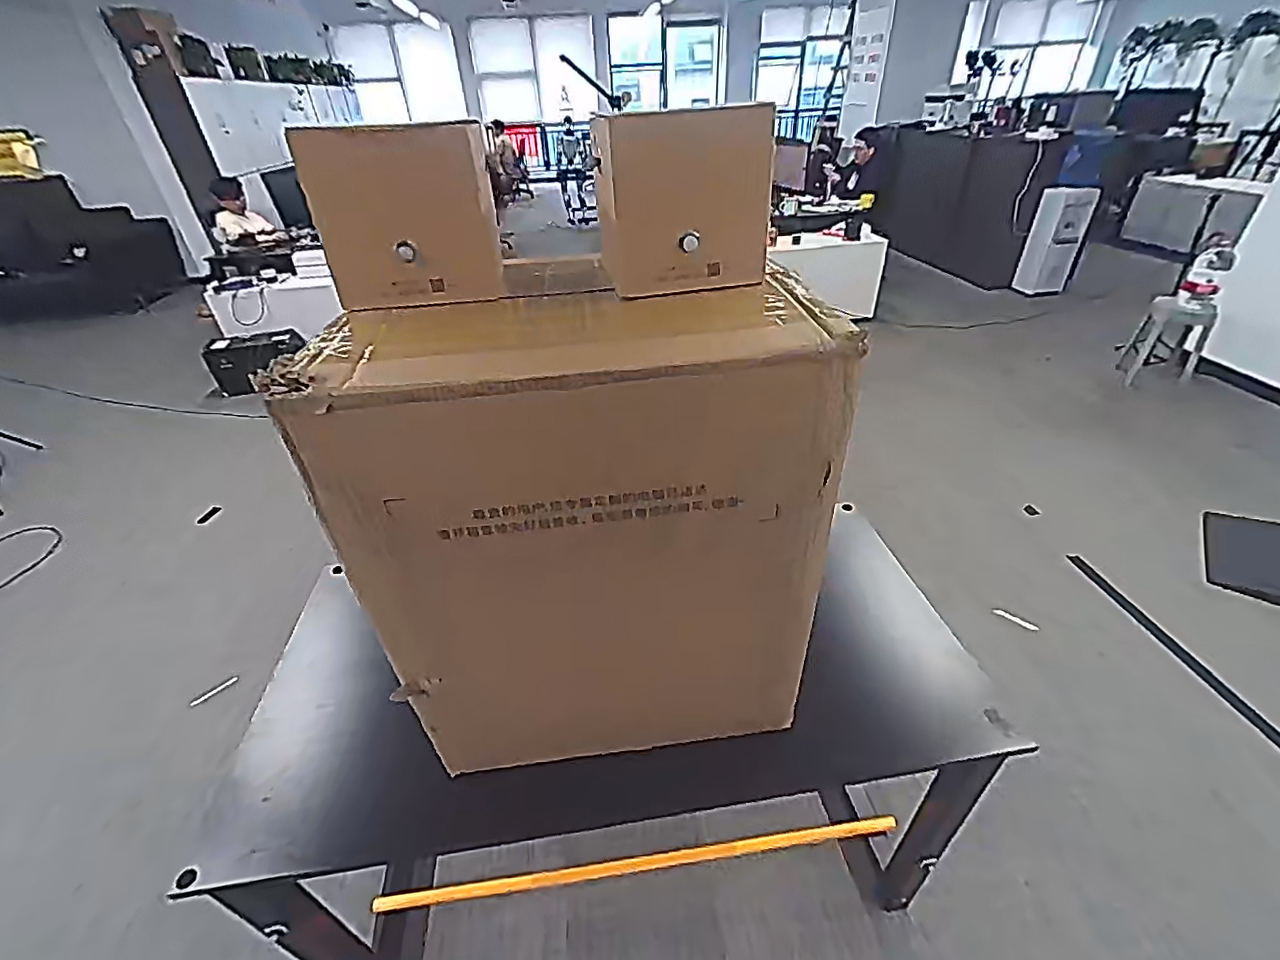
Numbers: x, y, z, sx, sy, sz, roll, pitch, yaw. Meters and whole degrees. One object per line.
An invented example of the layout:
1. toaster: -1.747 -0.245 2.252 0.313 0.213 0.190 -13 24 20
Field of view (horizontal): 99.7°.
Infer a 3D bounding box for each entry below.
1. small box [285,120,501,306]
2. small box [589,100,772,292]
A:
1. small box: -0.258 -0.307 0.617 0.168 0.176 0.179 -7 34 -7
2. small box: 0.036 -0.323 0.616 0.168 0.176 0.179 -9 35 -6
